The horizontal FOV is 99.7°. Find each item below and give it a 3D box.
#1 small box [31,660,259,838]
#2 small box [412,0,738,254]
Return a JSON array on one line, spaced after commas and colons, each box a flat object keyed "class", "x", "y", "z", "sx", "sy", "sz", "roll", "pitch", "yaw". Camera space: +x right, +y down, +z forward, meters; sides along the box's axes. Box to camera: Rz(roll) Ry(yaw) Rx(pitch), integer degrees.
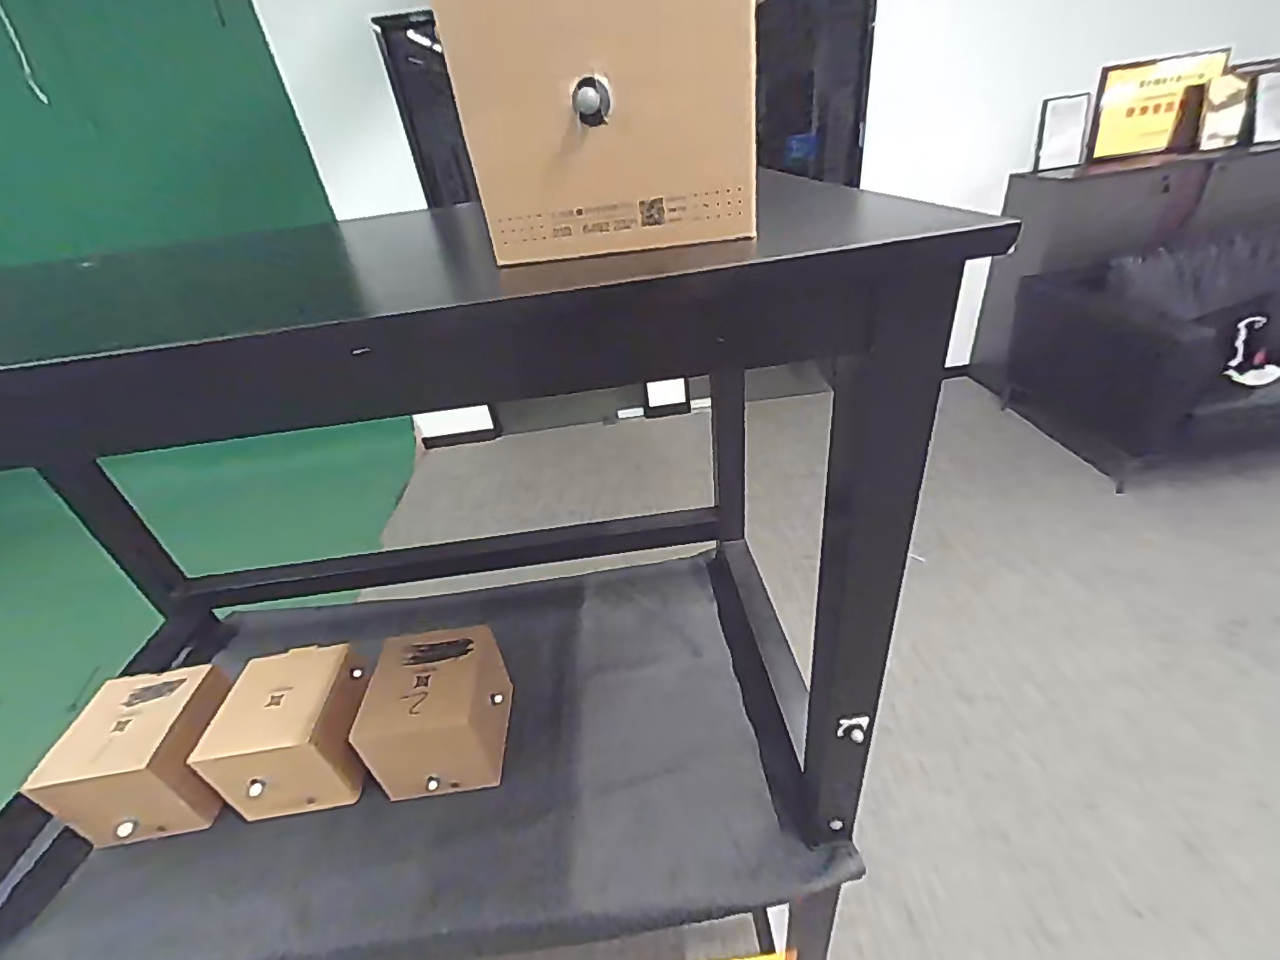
[{"class": "small box", "x": -0.739, "y": 0.414, "z": 0.840, "sx": 0.168, "sy": 0.176, "sz": 0.179, "roll": -9, "pitch": 33, "yaw": -2}, {"class": "small box", "x": -0.022, "y": -0.257, "z": 0.363, "sx": 0.168, "sy": 0.176, "sz": 0.179, "roll": -2, "pitch": 33, "yaw": 9}]
